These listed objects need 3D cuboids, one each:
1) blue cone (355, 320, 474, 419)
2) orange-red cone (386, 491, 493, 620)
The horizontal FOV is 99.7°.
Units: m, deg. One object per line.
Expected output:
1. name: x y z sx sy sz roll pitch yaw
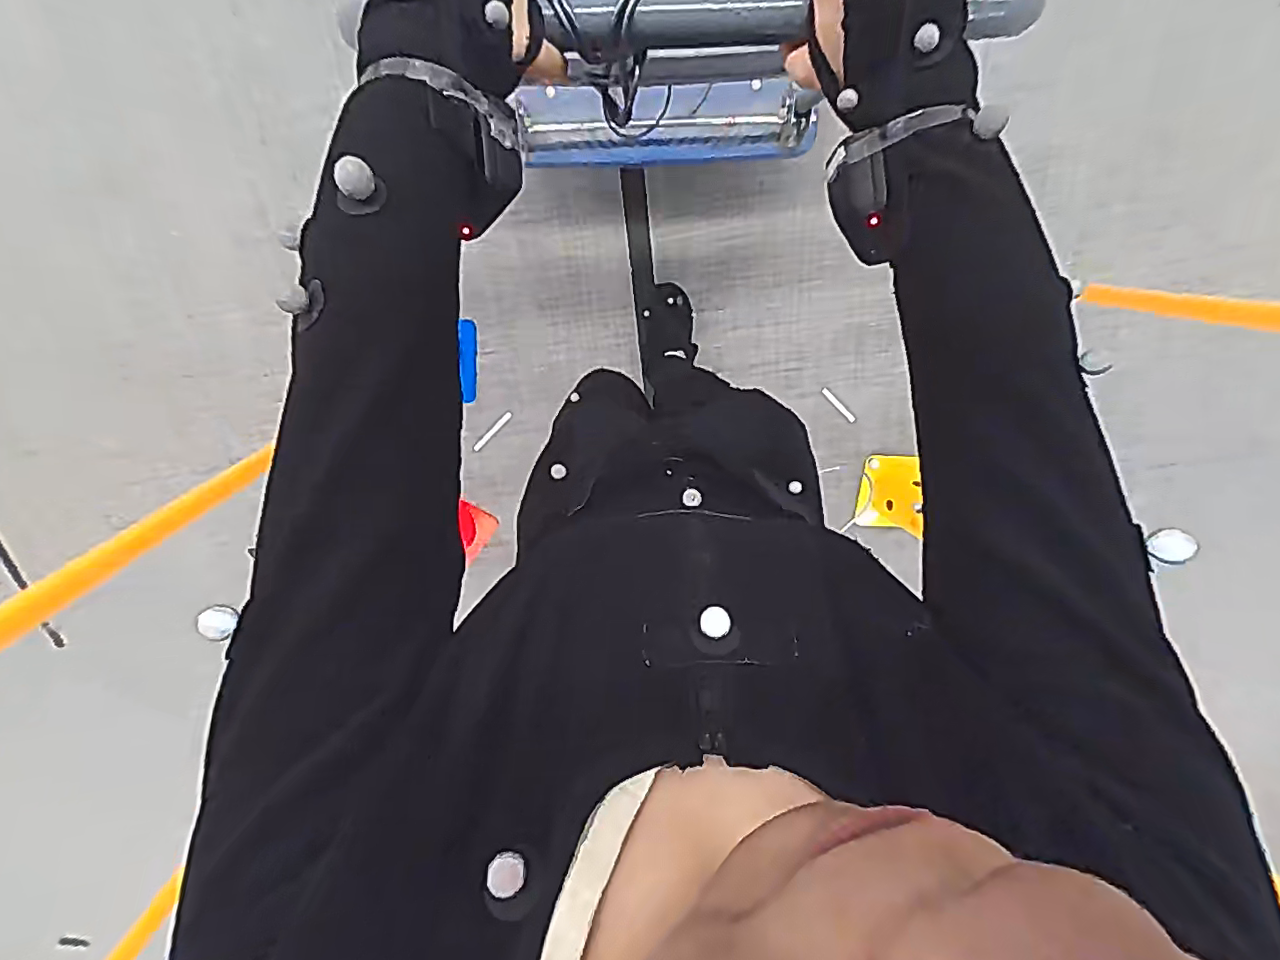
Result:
1. blue cone: -0.487 -0.208 1.119 0.193 0.380 0.192 7 113 -3
2. orange-red cone: -0.512 0.206 1.278 0.198 0.360 0.199 36 107 -15
